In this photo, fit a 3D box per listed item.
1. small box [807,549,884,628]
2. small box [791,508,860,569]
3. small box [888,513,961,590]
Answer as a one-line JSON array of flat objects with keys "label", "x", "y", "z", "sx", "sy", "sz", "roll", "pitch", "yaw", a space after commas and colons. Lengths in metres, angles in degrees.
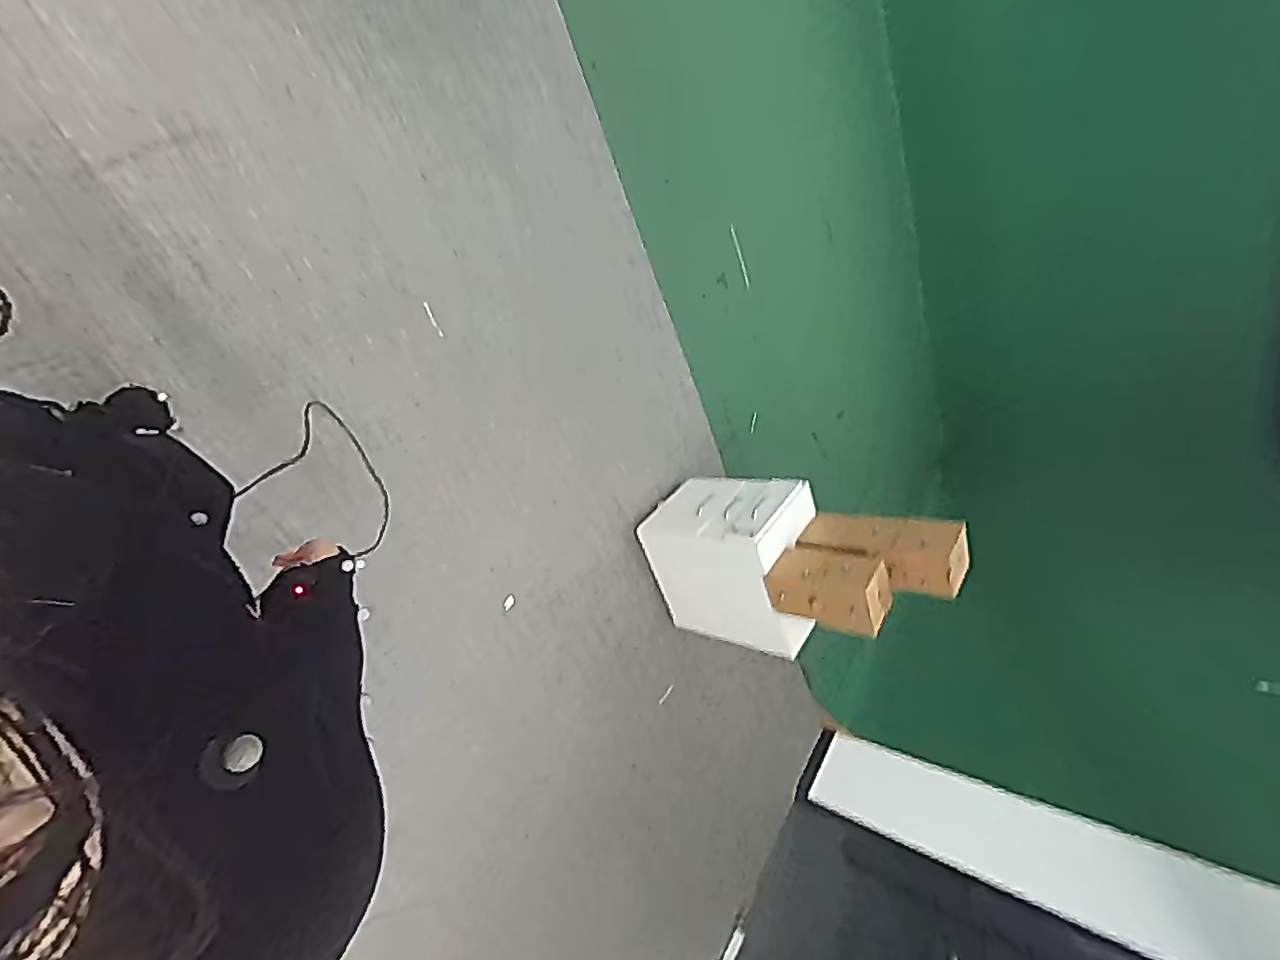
[{"label": "small box", "x": 0.646, "y": 0.334, "z": 1.704, "sx": 0.168, "sy": 0.176, "sz": 0.179, "roll": -40, "pitch": 120, "yaw": -37}, {"label": "small box", "x": 0.674, "y": 0.218, "z": 1.964, "sx": 0.179, "sy": 0.176, "sz": 0.168, "roll": -41, "pitch": 120, "yaw": -35}, {"label": "small box", "x": 0.908, "y": 0.225, "z": 1.733, "sx": 0.179, "sy": 0.176, "sz": 0.168, "roll": -40, "pitch": 122, "yaw": -37}]
